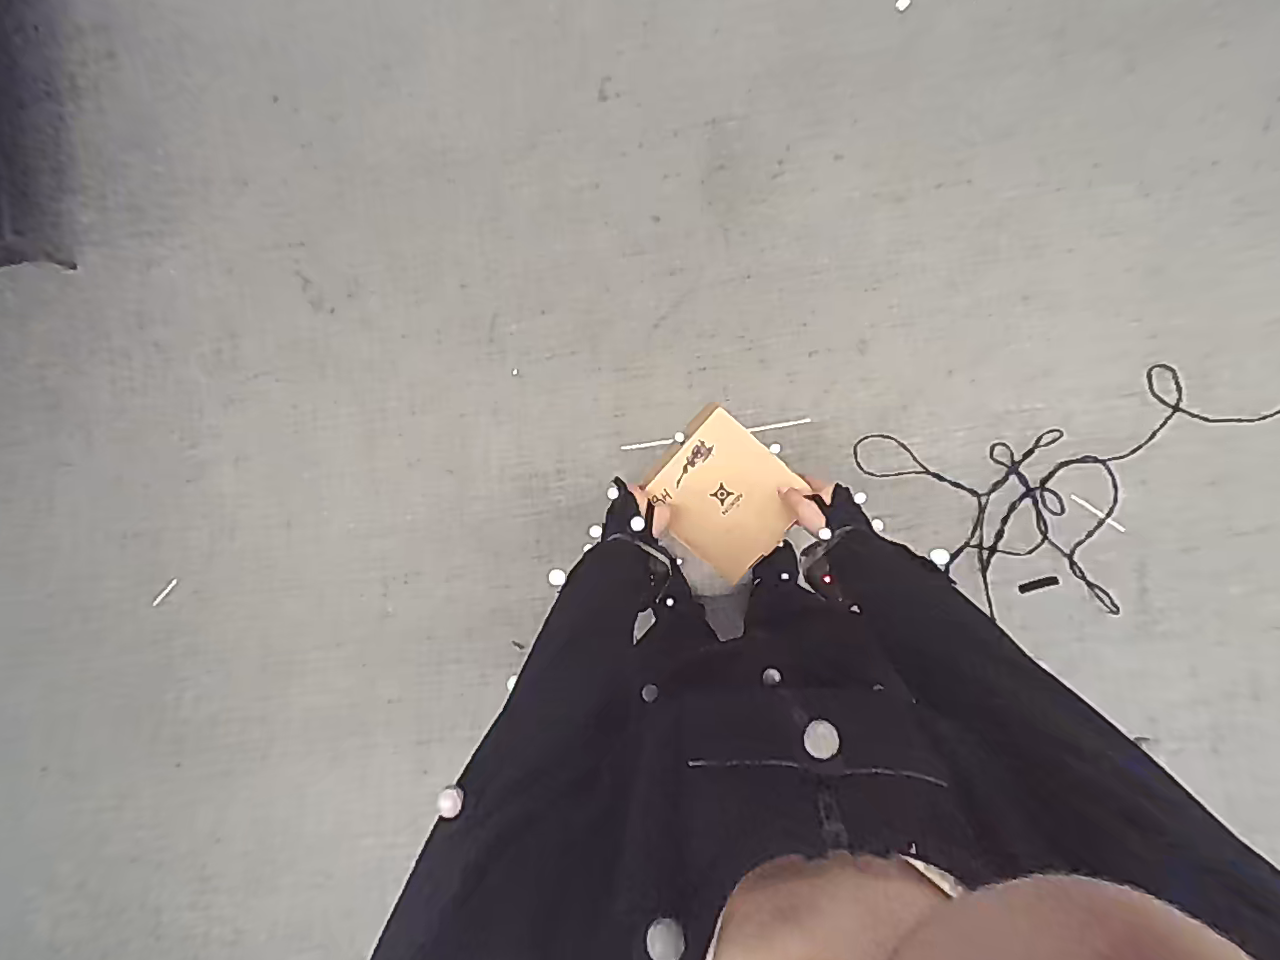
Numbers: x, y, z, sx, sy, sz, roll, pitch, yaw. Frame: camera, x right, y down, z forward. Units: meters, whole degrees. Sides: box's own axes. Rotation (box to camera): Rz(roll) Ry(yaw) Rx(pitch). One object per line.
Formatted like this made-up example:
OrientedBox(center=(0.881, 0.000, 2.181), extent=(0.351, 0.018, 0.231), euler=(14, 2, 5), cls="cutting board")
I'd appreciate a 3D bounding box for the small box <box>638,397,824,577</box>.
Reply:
OrientedBox(center=(0.119, -0.003, 0.756), extent=(0.179, 0.176, 0.168), euler=(41, 101, -4), cls="small box")
